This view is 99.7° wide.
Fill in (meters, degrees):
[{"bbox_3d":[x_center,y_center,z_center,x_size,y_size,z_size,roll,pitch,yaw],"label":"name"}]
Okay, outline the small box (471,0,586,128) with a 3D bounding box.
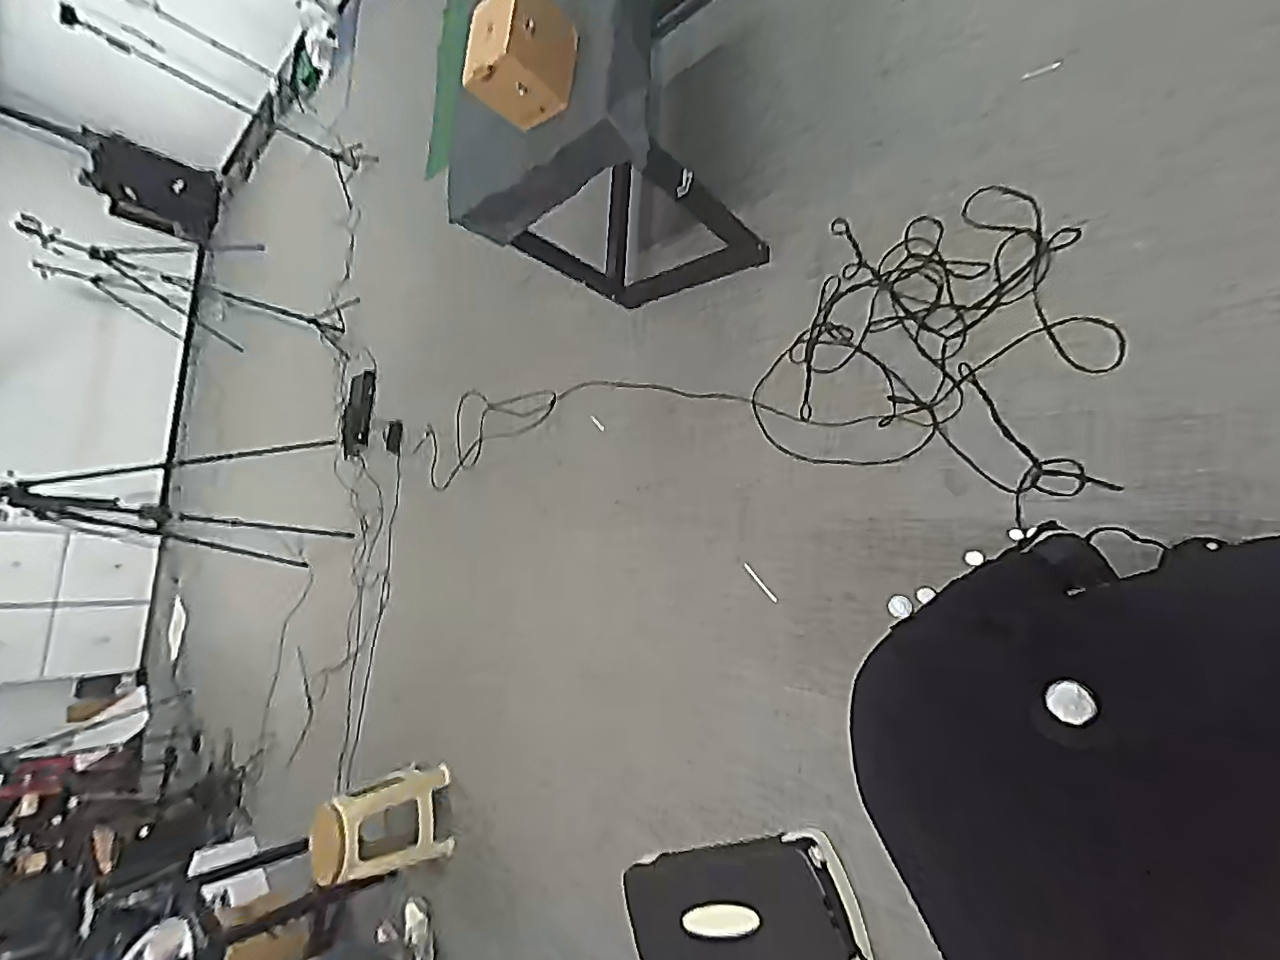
[{"bbox_3d":[-0.238,-0.908,1.174,0.168,0.176,0.179,6,85,41],"label":"small box"}]
